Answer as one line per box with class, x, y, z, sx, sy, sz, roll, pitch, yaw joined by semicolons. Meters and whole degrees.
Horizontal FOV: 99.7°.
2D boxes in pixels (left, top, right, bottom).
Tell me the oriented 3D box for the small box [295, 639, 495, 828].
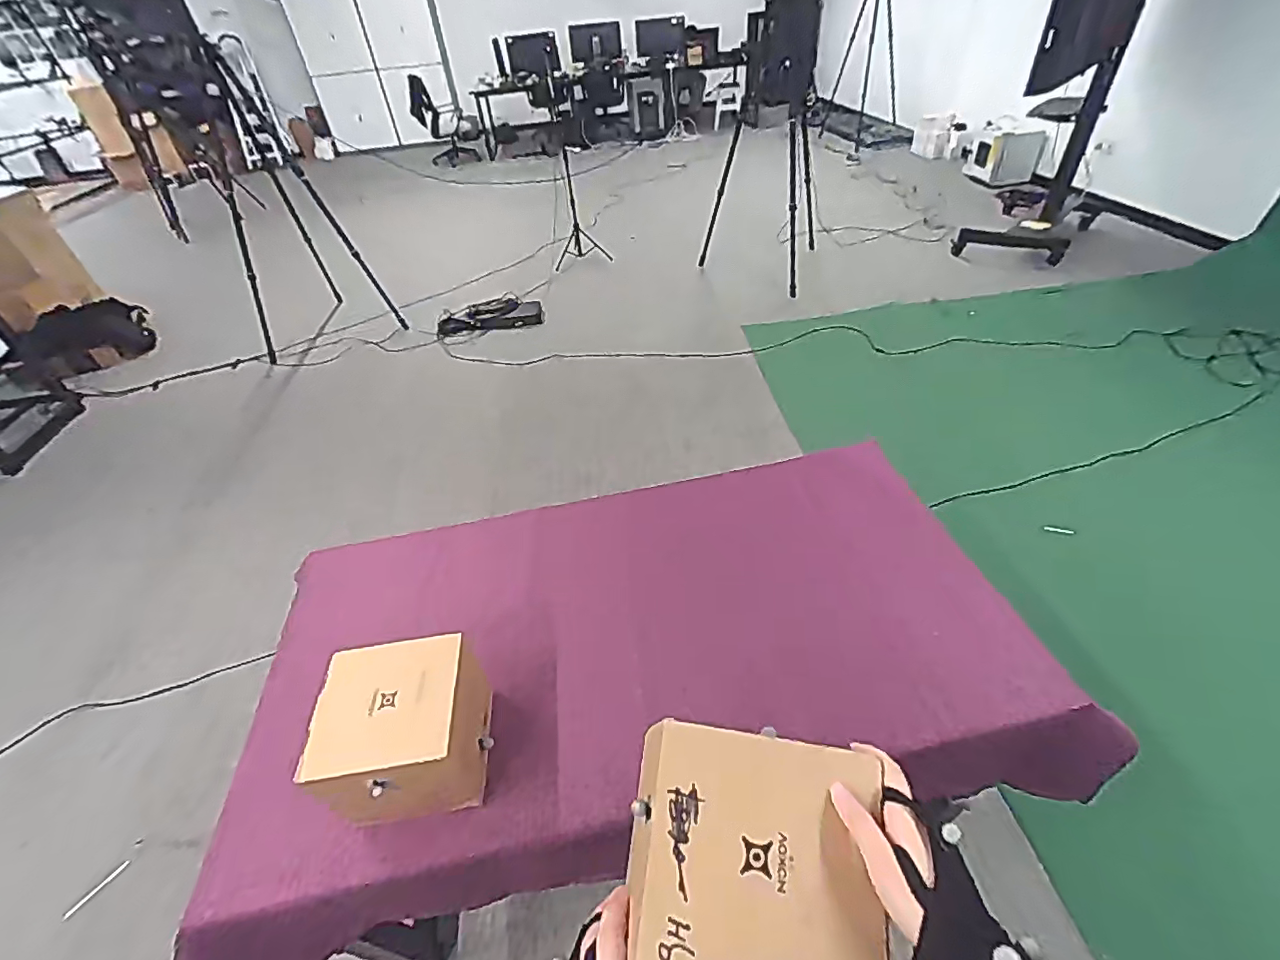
small box;-0.308;0.341;0.724;0.179;0.176;0.168;-8;43;-3
